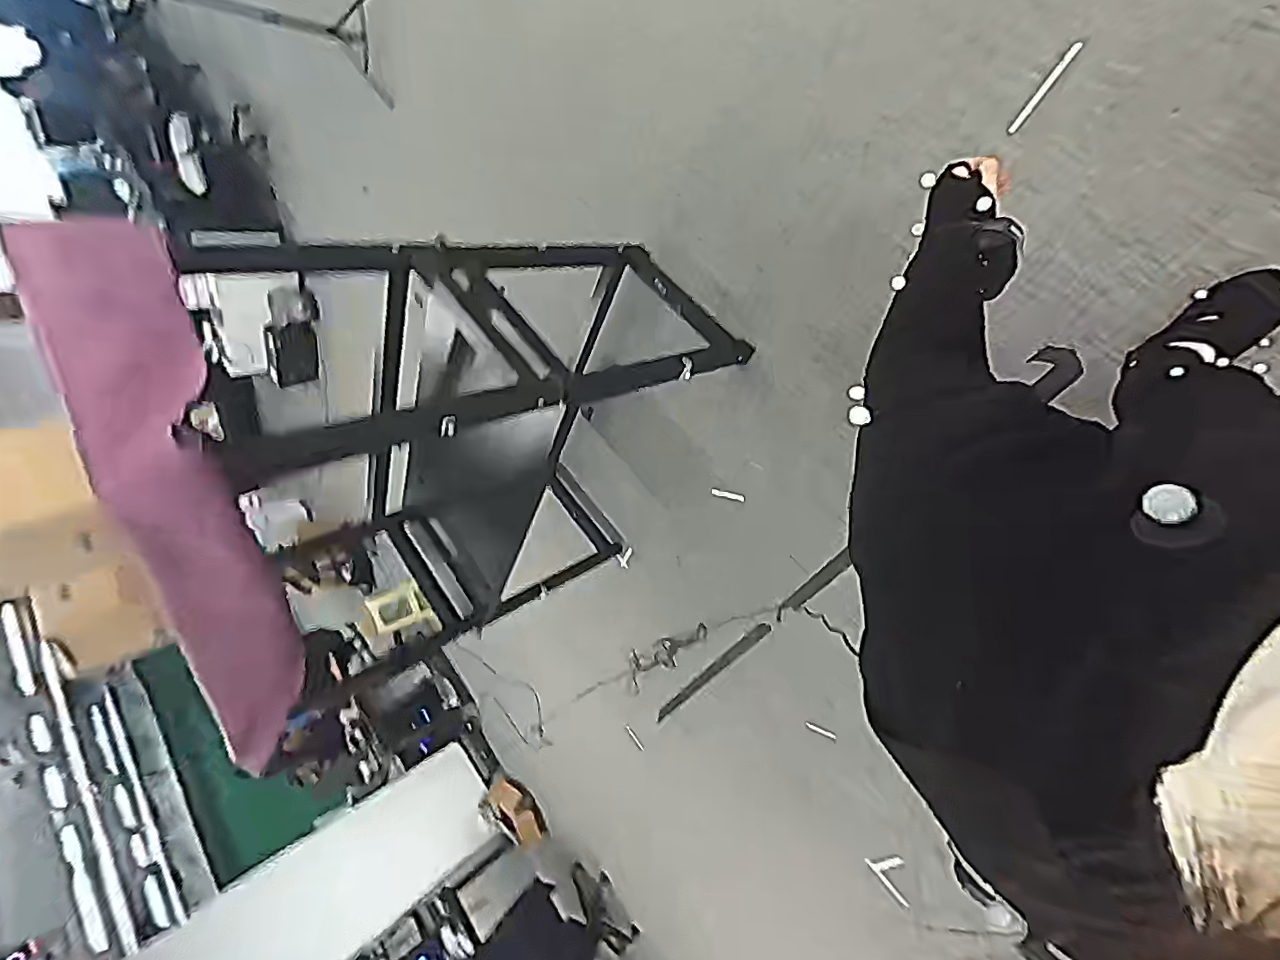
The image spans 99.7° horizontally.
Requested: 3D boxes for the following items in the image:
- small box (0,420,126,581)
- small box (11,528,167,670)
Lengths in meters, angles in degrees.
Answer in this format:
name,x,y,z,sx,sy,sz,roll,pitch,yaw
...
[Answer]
name,x,y,z,sx,sy,sz,roll,pitch,yaw
small box,-0.918,0.026,0.813,0.179,0.176,0.168,53,138,17
small box,-1.052,0.223,1.045,0.179,0.176,0.168,47,135,23
